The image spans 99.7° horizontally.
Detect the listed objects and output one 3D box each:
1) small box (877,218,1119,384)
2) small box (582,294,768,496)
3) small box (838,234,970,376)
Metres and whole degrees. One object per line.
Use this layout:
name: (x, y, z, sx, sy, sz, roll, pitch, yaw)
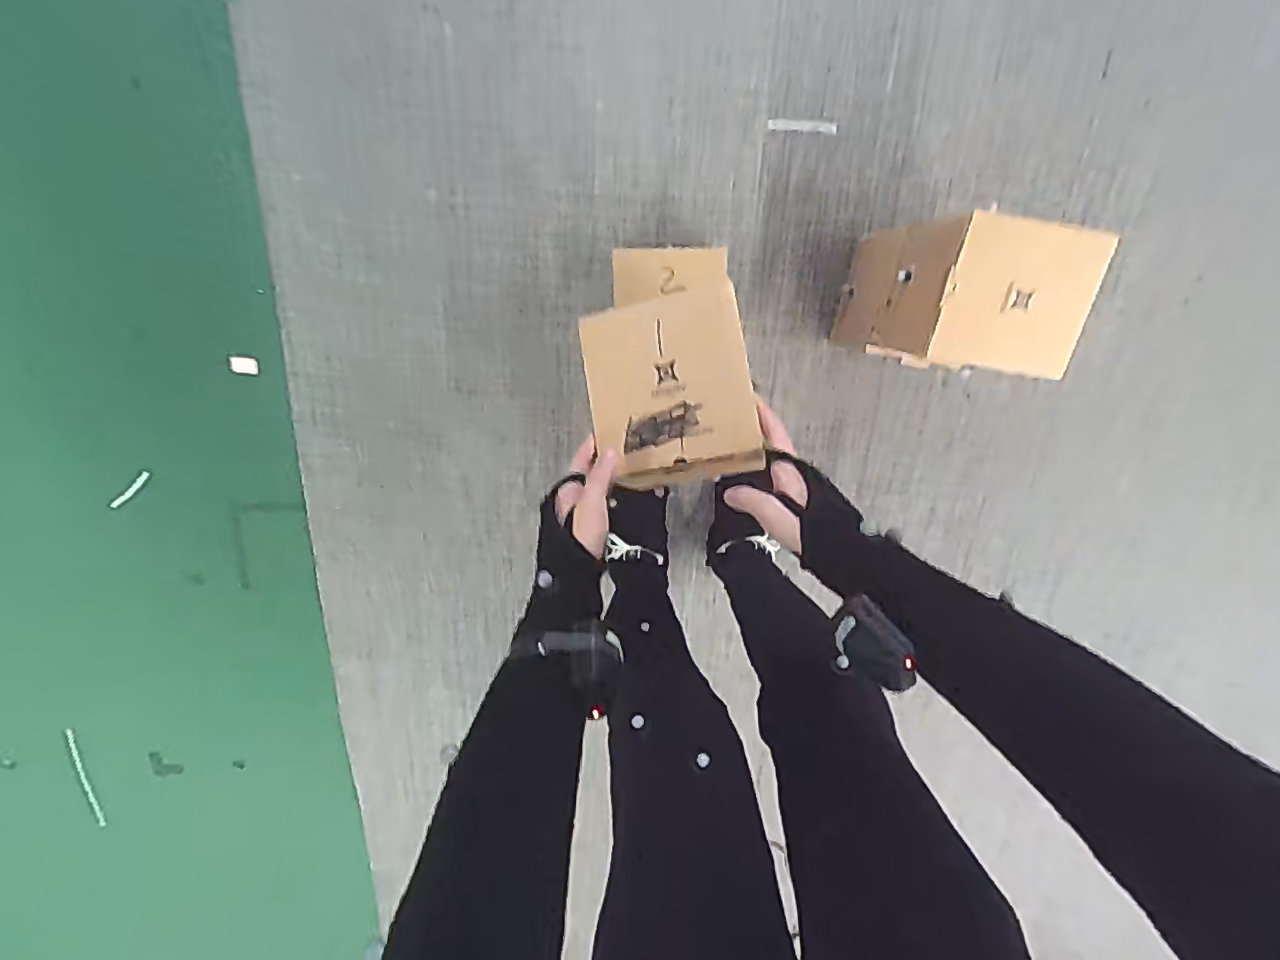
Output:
small box: (0.443, -0.232, 0.705, 0.179, 0.176, 0.168, 8, 109, -1)
small box: (0.050, -0.079, 0.618, 0.168, 0.176, 0.179, -12, 82, 13)
small box: (0.434, -0.279, 0.860, 0.168, 0.176, 0.179, 9, 110, -3)
